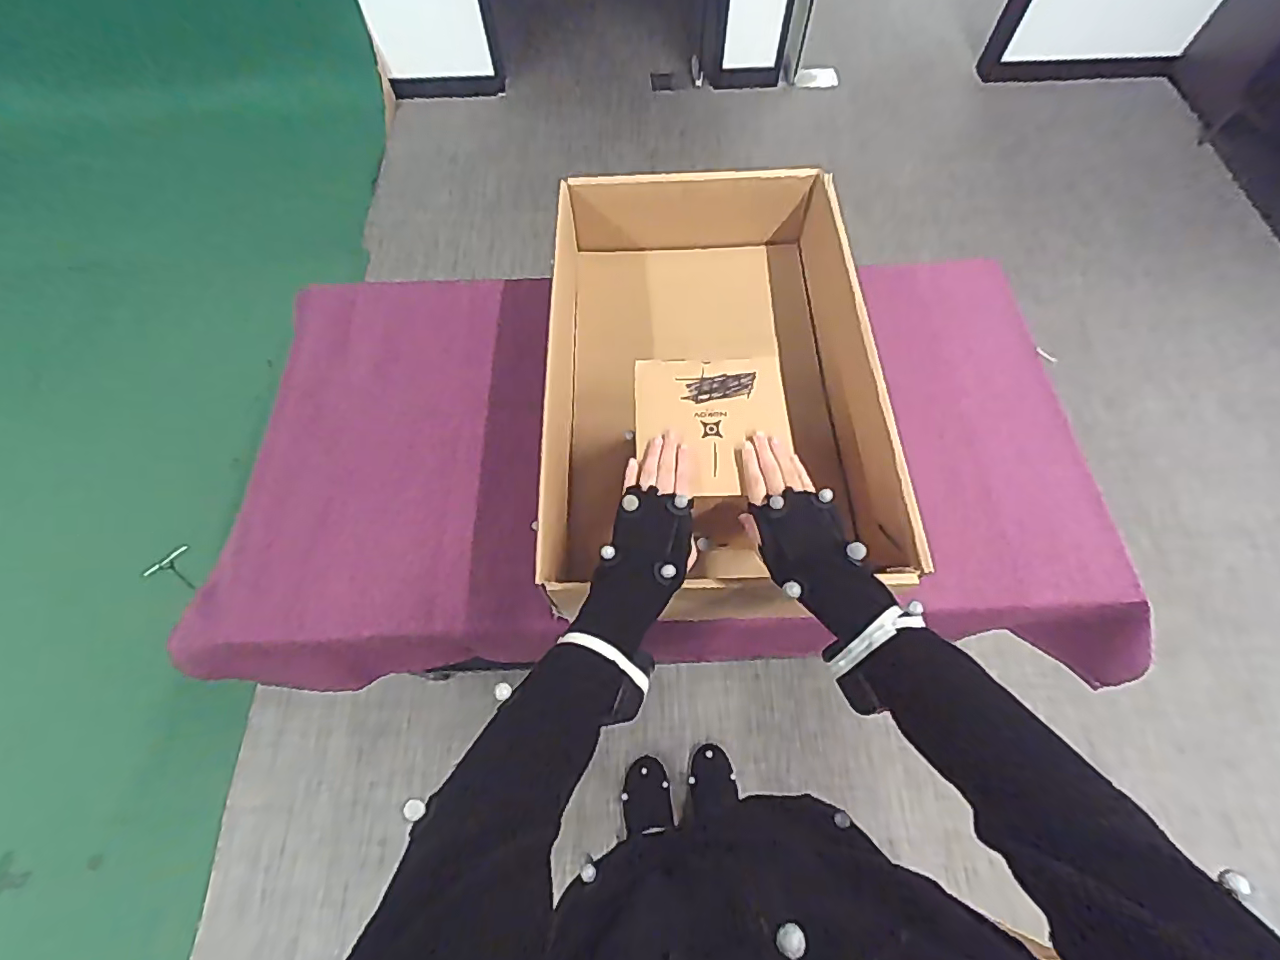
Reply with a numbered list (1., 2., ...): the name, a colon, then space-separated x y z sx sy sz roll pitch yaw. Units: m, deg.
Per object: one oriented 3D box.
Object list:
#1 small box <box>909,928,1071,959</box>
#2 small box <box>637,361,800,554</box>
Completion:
1. small box: 0.513 0.769 0.773 0.168 0.176 0.179 -1 64 0
2. small box: 0.079 -0.021 0.651 0.168 0.176 0.179 -2 64 0
